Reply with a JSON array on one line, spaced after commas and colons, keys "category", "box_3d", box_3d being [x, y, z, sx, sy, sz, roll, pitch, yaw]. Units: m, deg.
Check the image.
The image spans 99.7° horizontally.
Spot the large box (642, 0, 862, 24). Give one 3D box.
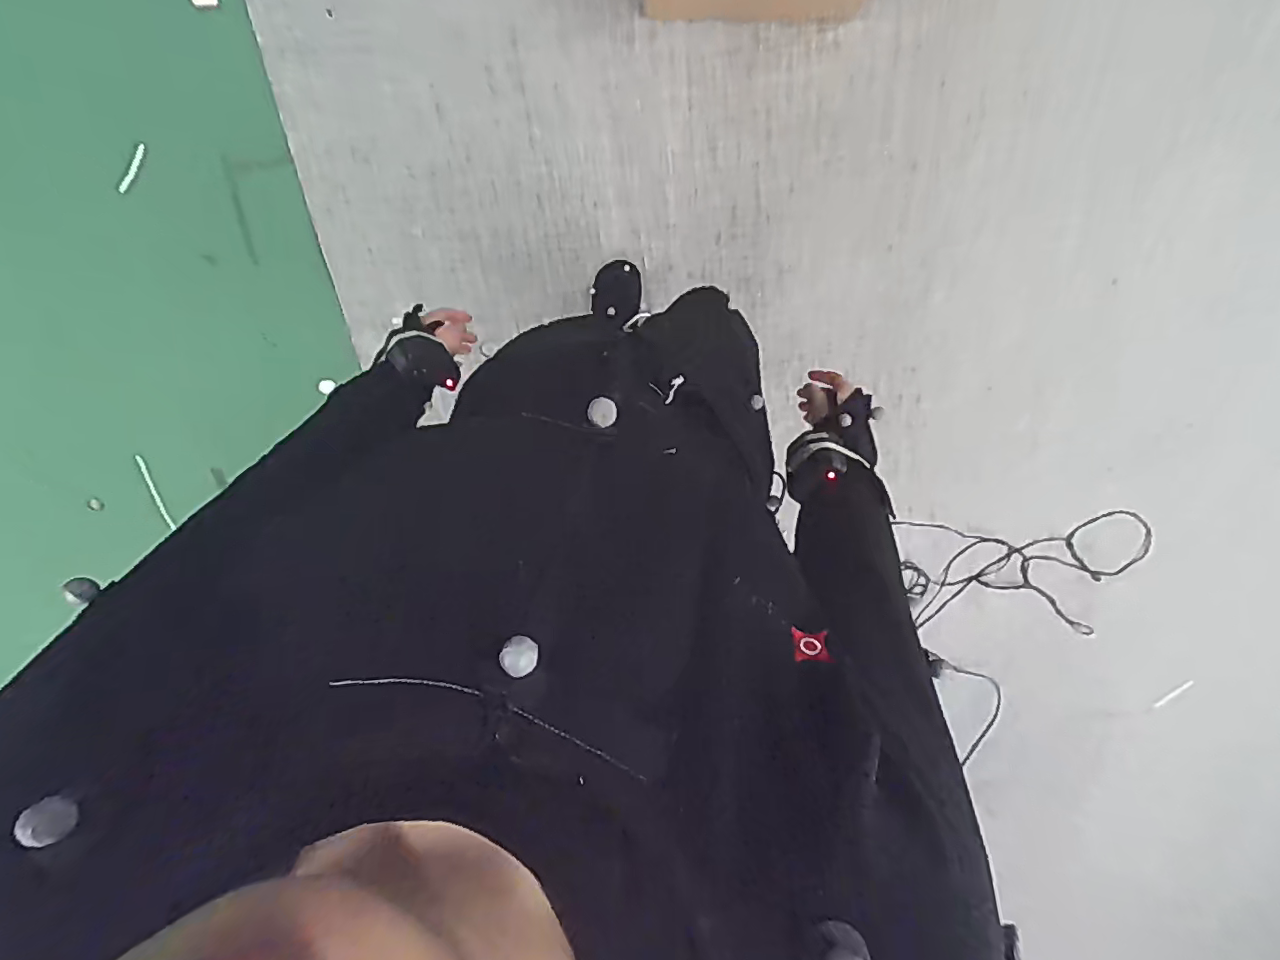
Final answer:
[{"category": "large box", "box_3d": [0.201, -0.961, 0.840, 0.408, 0.320, 0.320, -1, 114, -1]}]
